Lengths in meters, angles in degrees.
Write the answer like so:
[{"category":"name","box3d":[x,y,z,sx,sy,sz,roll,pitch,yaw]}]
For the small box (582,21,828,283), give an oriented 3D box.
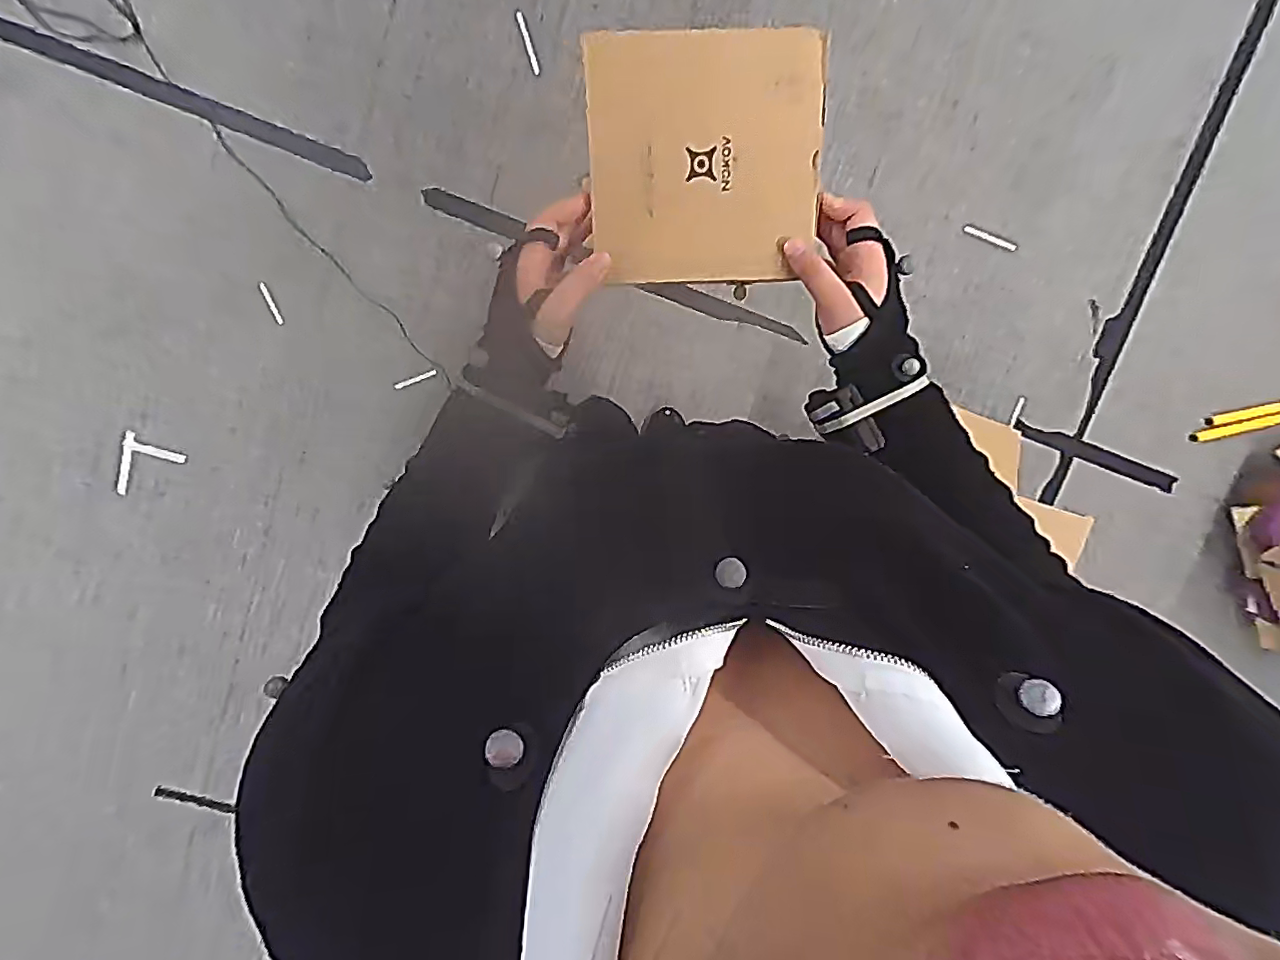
[{"category":"small box","box3d":[0.046,-0.265,0.476,0.179,0.176,0.168,-3,108,0]}]
